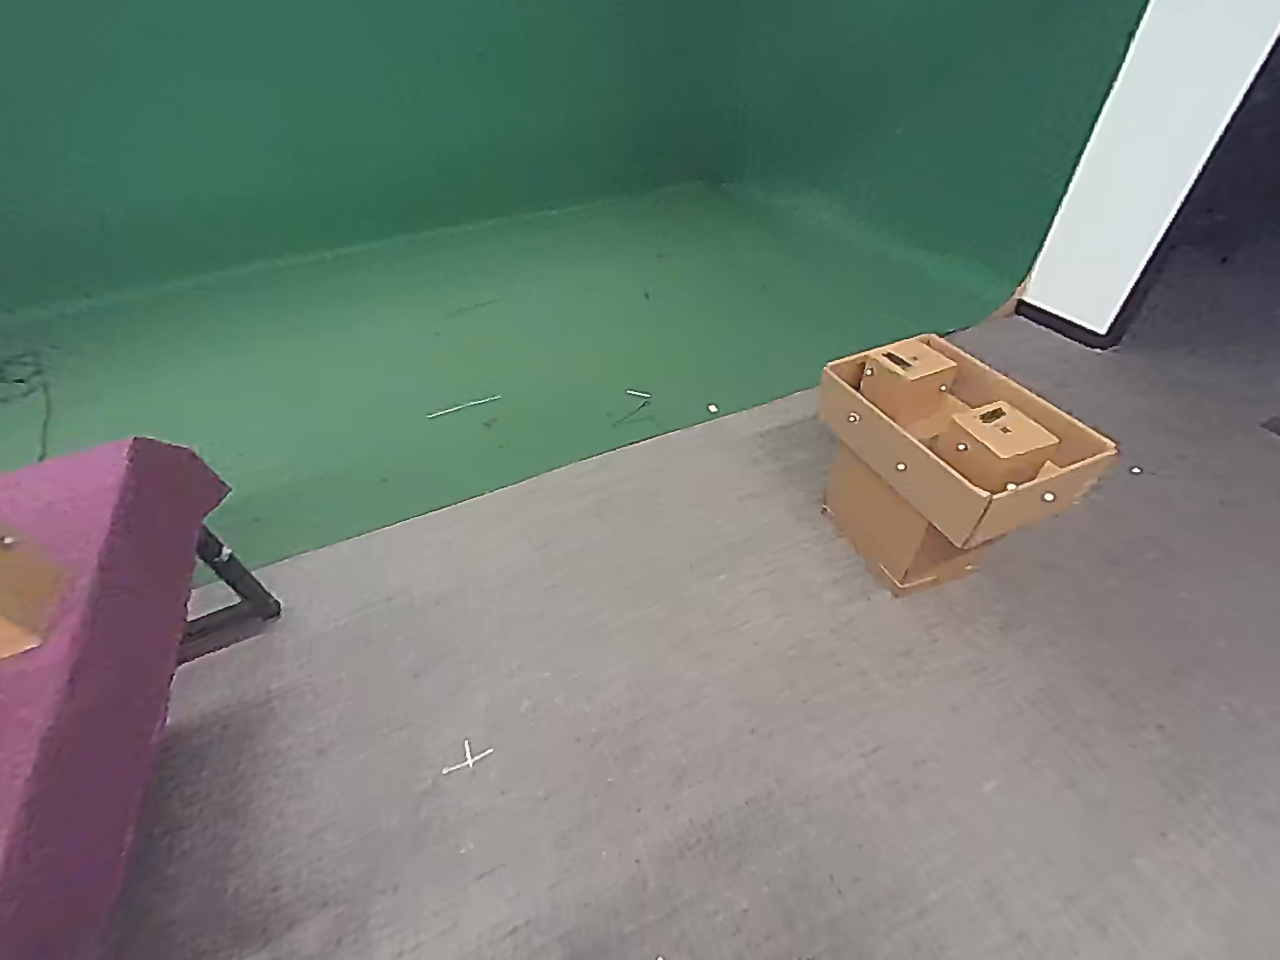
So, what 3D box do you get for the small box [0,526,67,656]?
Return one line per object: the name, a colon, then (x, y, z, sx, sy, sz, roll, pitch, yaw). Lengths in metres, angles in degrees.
small box: (-1.139, 0.200, 0.909, 0.168, 0.176, 0.179, -21, 46, -15)
